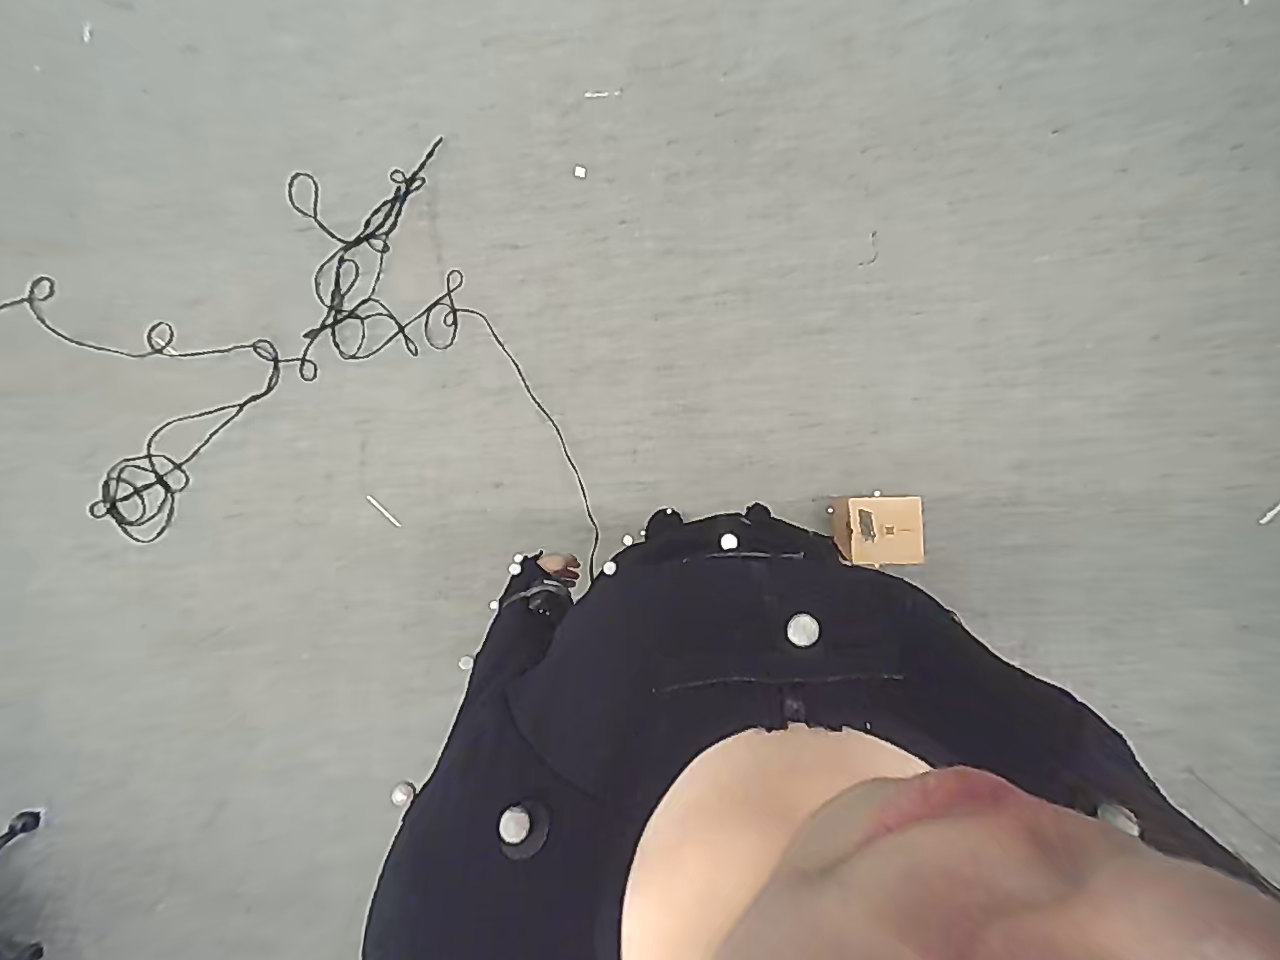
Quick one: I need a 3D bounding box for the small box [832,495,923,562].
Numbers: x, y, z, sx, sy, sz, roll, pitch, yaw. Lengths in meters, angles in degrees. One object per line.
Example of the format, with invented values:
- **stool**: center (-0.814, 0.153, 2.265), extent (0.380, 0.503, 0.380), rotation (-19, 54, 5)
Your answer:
- **small box**: center (0.603, 0.123, 1.396), extent (0.179, 0.176, 0.168), rotation (-1, 88, 4)
